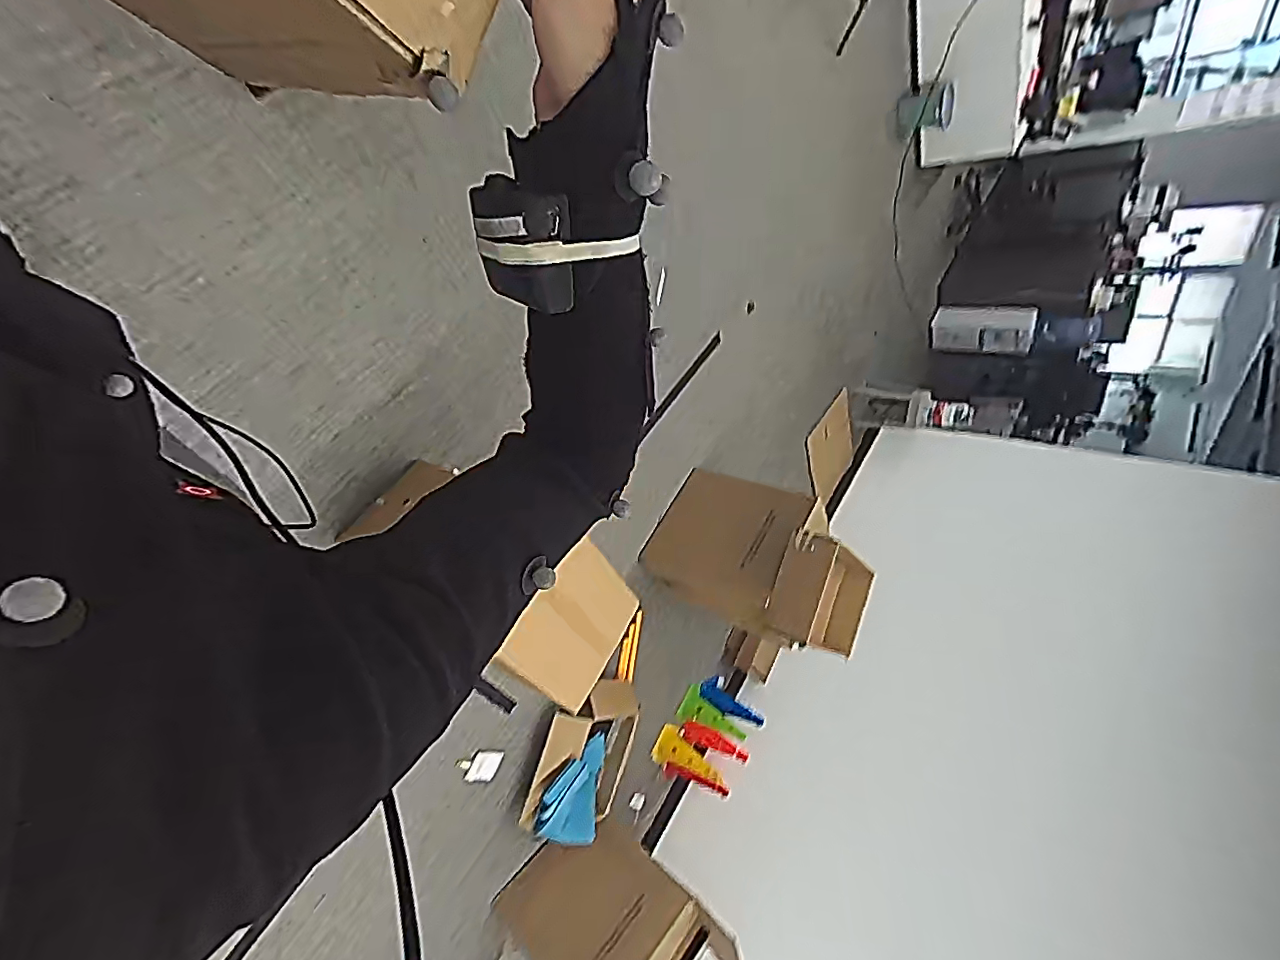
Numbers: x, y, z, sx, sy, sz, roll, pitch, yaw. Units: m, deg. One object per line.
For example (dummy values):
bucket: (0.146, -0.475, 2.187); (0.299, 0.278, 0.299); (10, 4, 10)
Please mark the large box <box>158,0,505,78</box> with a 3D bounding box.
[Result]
large box: (-0.184, -0.440, 0.165); (0.320, 0.320, 0.408); (11, 107, -55)
